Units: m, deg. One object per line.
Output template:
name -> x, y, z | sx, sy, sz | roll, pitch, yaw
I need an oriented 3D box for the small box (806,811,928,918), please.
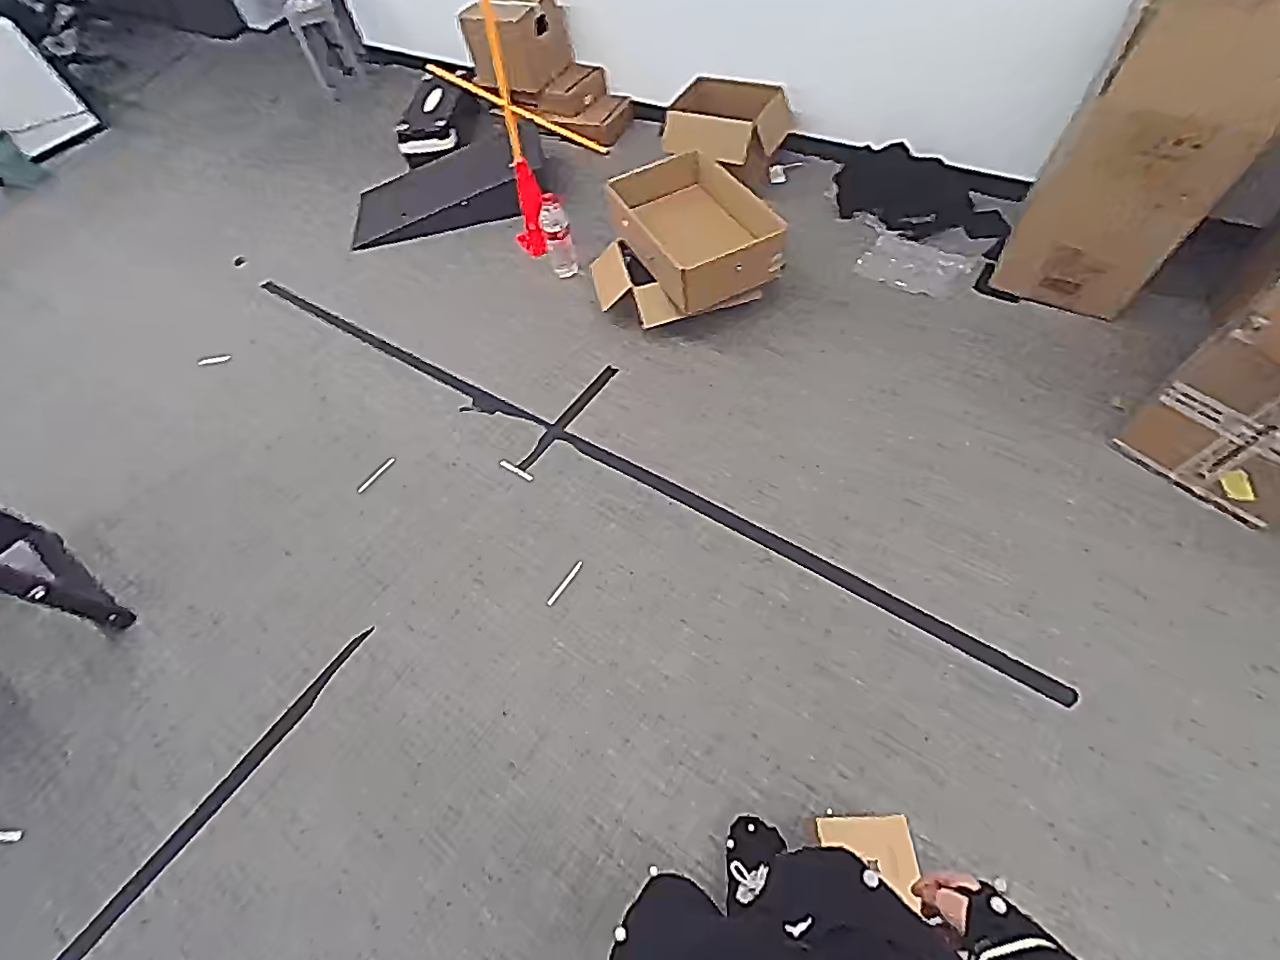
small box -> 0.442, 0.770, 1.094 | 0.179, 0.176, 0.168 | -5, 59, 3
